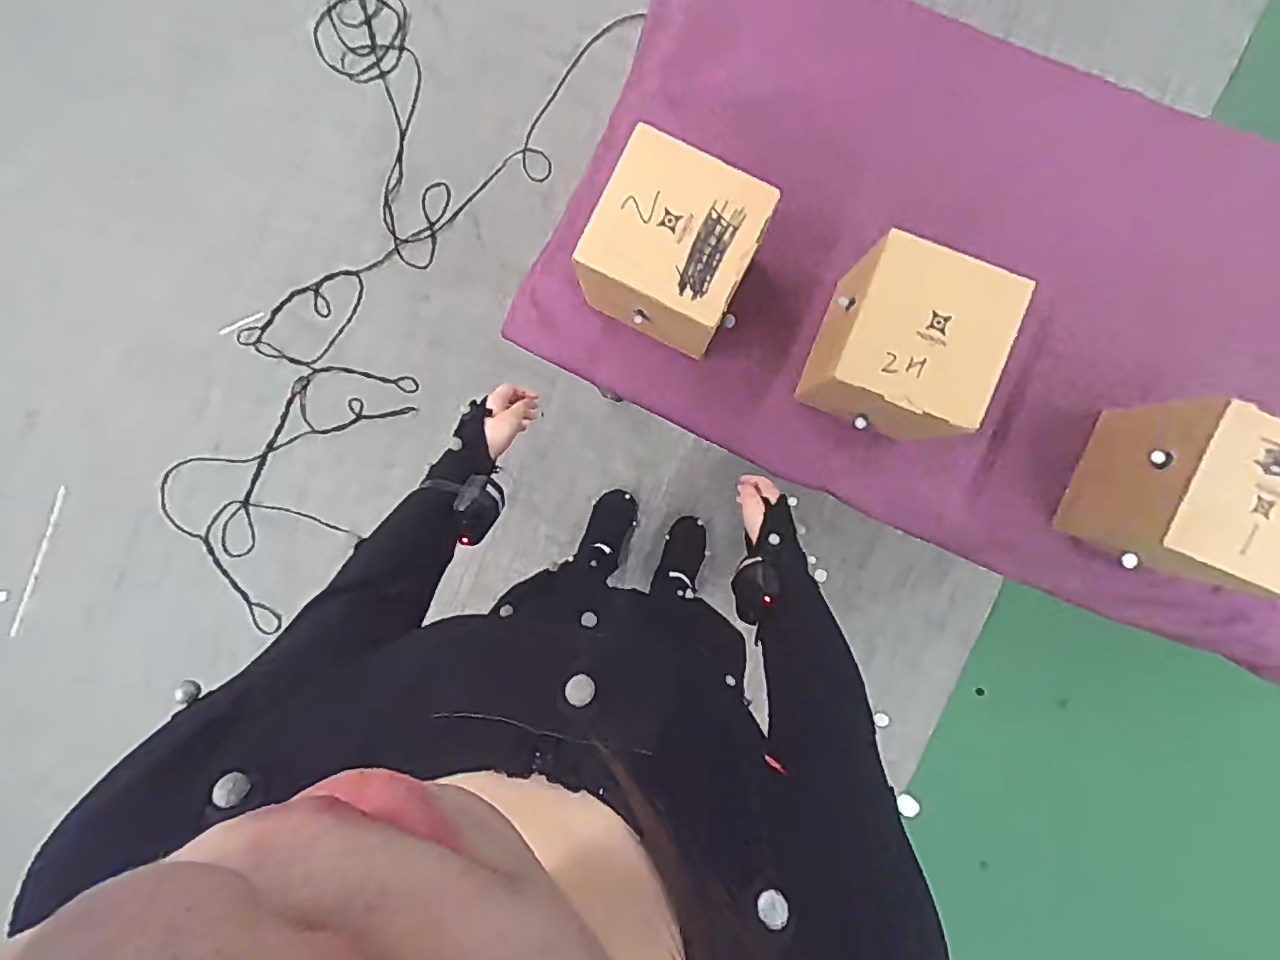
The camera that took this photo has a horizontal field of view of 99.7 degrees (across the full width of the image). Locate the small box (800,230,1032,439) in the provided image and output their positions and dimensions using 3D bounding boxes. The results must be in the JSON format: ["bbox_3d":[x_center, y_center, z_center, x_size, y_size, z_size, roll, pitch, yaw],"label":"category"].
[{"bbox_3d":[0.317,-0.161,0.661,0.168,0.176,0.179,21,91,1],"label":"small box"}]

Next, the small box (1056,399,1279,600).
[{"bbox_3d":[0.667,0.020,0.661,0.168,0.176,0.179,23,93,1],"label":"small box"}]
